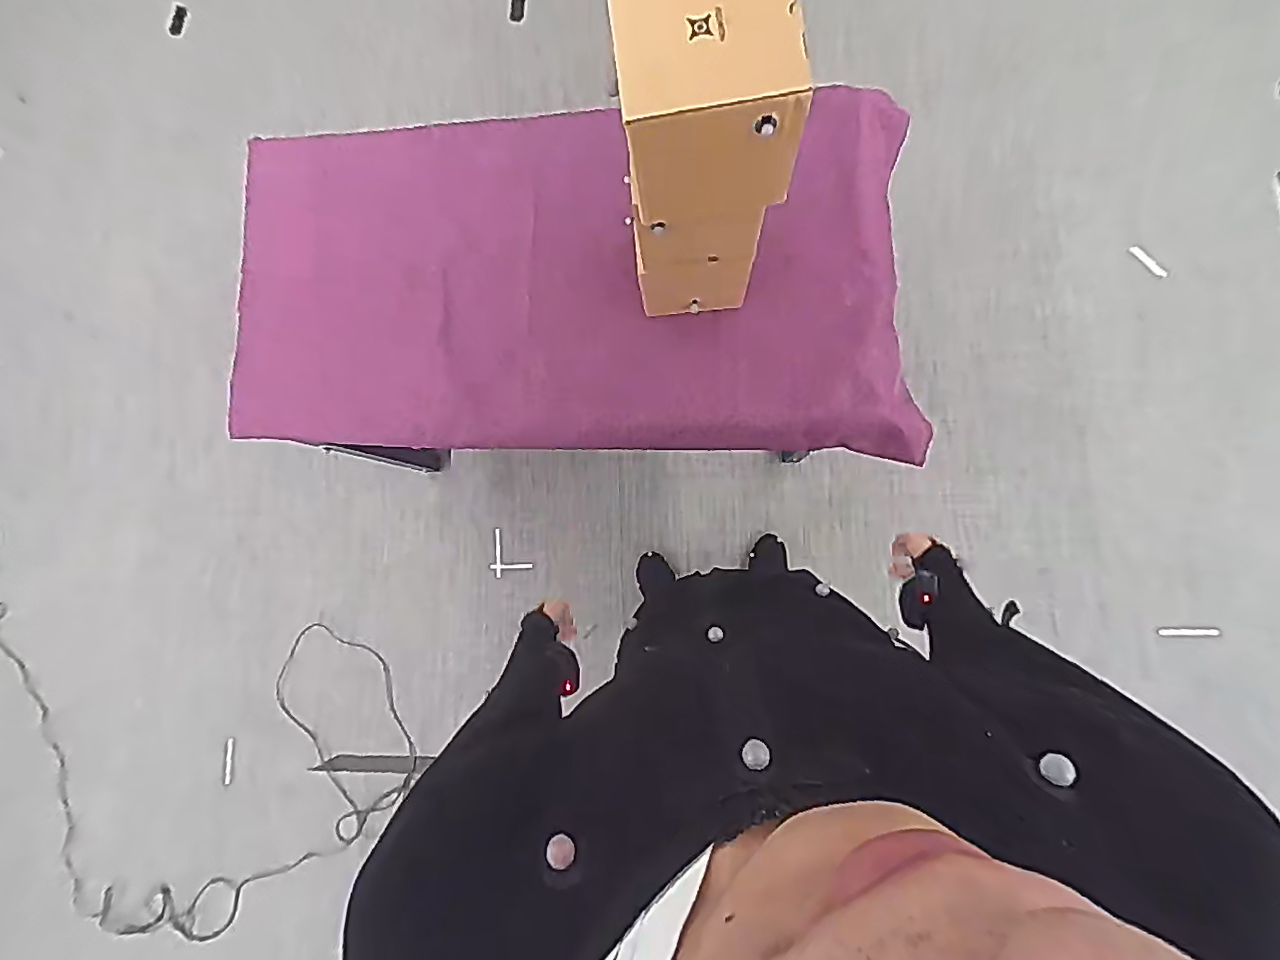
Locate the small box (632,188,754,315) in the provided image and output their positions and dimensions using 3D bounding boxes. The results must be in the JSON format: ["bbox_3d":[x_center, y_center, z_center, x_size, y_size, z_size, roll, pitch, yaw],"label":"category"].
[{"bbox_3d":[0.083,-0.388,0.894,0.179,0.176,0.168,-4,83,4],"label":"small box"}]

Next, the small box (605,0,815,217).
[{"bbox_3d":[0.067,-0.404,0.566,0.179,0.176,0.168,-8,83,4],"label":"small box"}]
